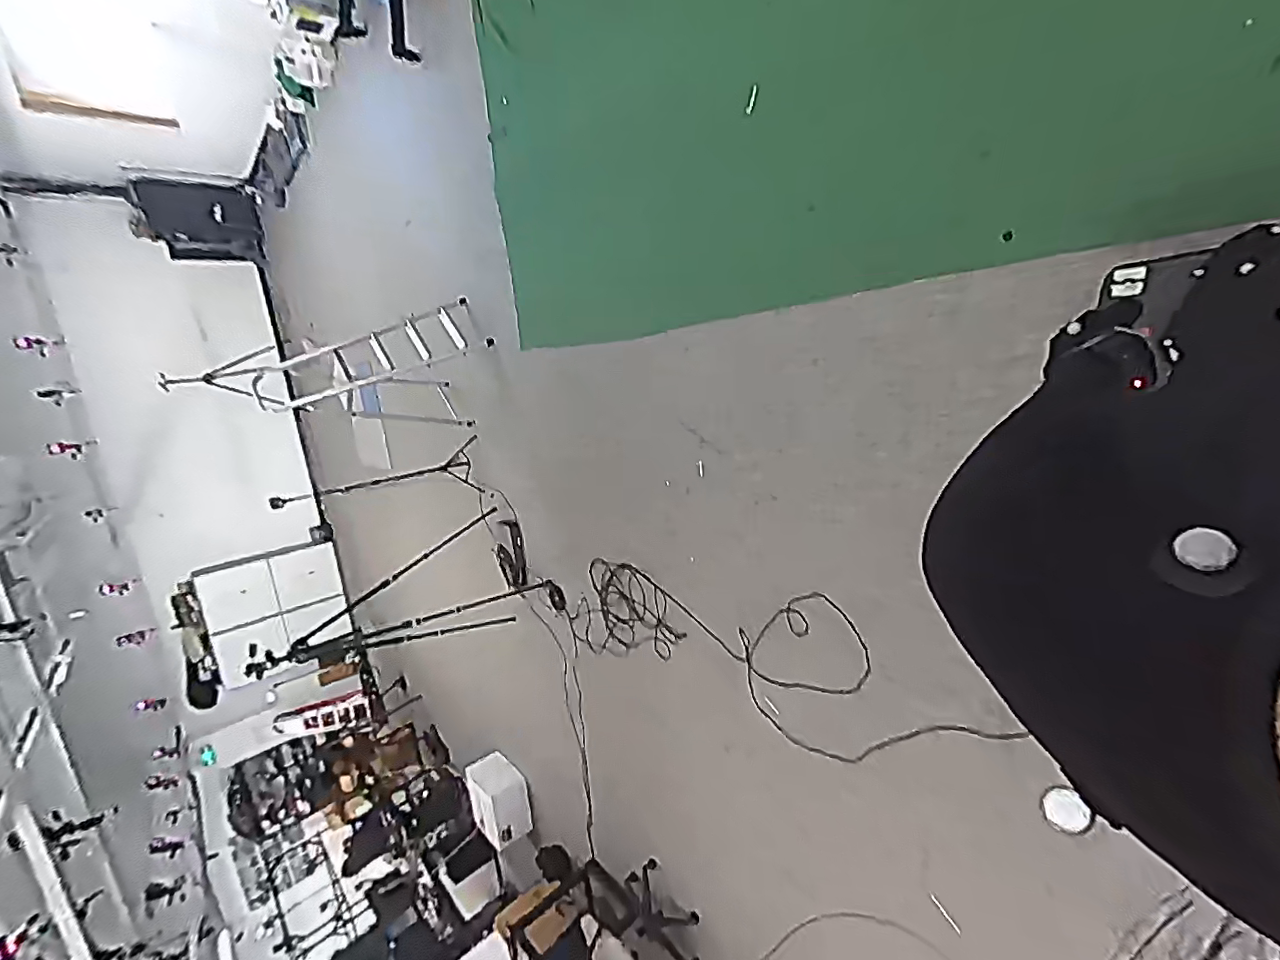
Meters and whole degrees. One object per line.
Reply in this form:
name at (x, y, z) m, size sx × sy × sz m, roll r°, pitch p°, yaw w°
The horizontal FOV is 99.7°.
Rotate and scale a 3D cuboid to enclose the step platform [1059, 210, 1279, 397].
step platform at (1.099, -0.299, 0.843) m, size 0.684 × 0.204 × 0.286 m, roll 6°, pitch 108°, yaw 49°
